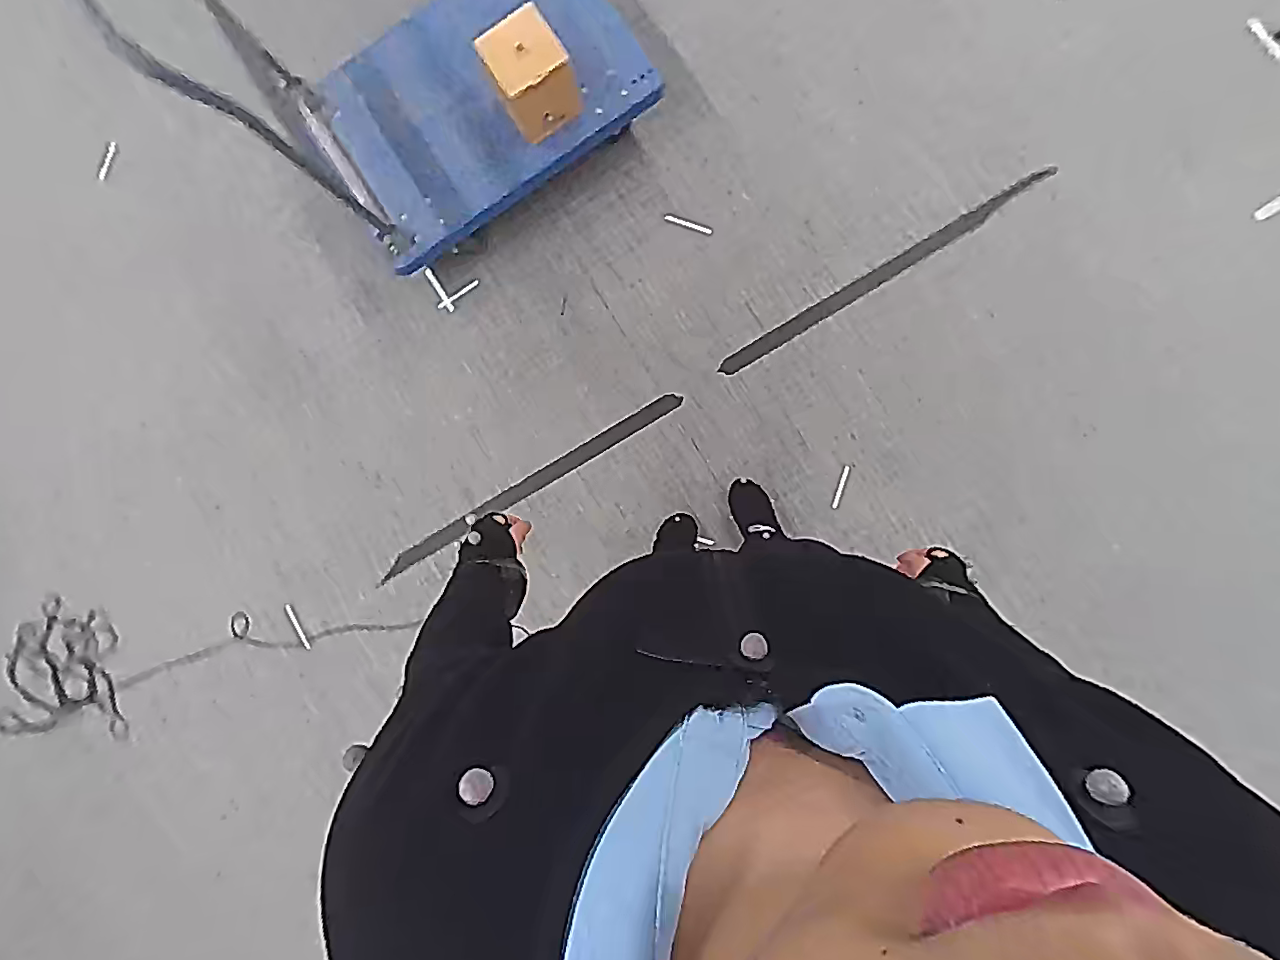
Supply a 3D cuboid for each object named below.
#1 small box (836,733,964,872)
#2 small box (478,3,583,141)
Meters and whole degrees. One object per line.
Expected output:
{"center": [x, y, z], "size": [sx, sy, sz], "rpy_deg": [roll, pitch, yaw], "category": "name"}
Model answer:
{"center": [0.561, 0.698, 1.190], "size": [0.168, 0.176, 0.179], "rpy_deg": [-26, 84, 2], "category": "small box"}
{"center": [-0.262, -0.991, 1.330], "size": [0.168, 0.176, 0.179], "rpy_deg": [-33, 85, 3], "category": "small box"}
